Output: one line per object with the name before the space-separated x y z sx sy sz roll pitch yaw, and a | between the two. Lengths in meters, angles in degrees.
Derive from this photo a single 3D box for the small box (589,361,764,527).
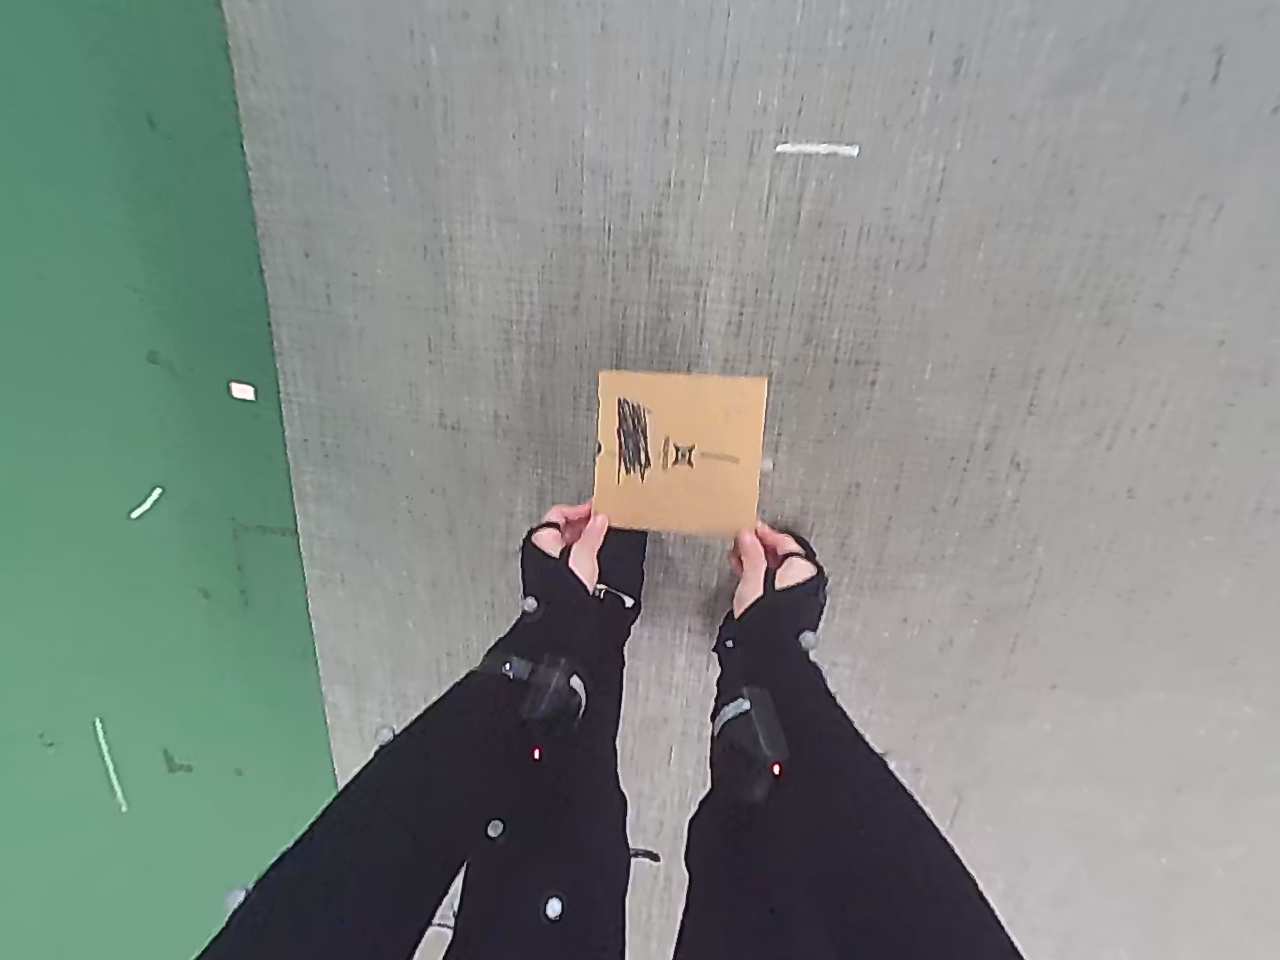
small box | 0.049 -0.042 0.636 0.179 0.176 0.168 3 94 10
